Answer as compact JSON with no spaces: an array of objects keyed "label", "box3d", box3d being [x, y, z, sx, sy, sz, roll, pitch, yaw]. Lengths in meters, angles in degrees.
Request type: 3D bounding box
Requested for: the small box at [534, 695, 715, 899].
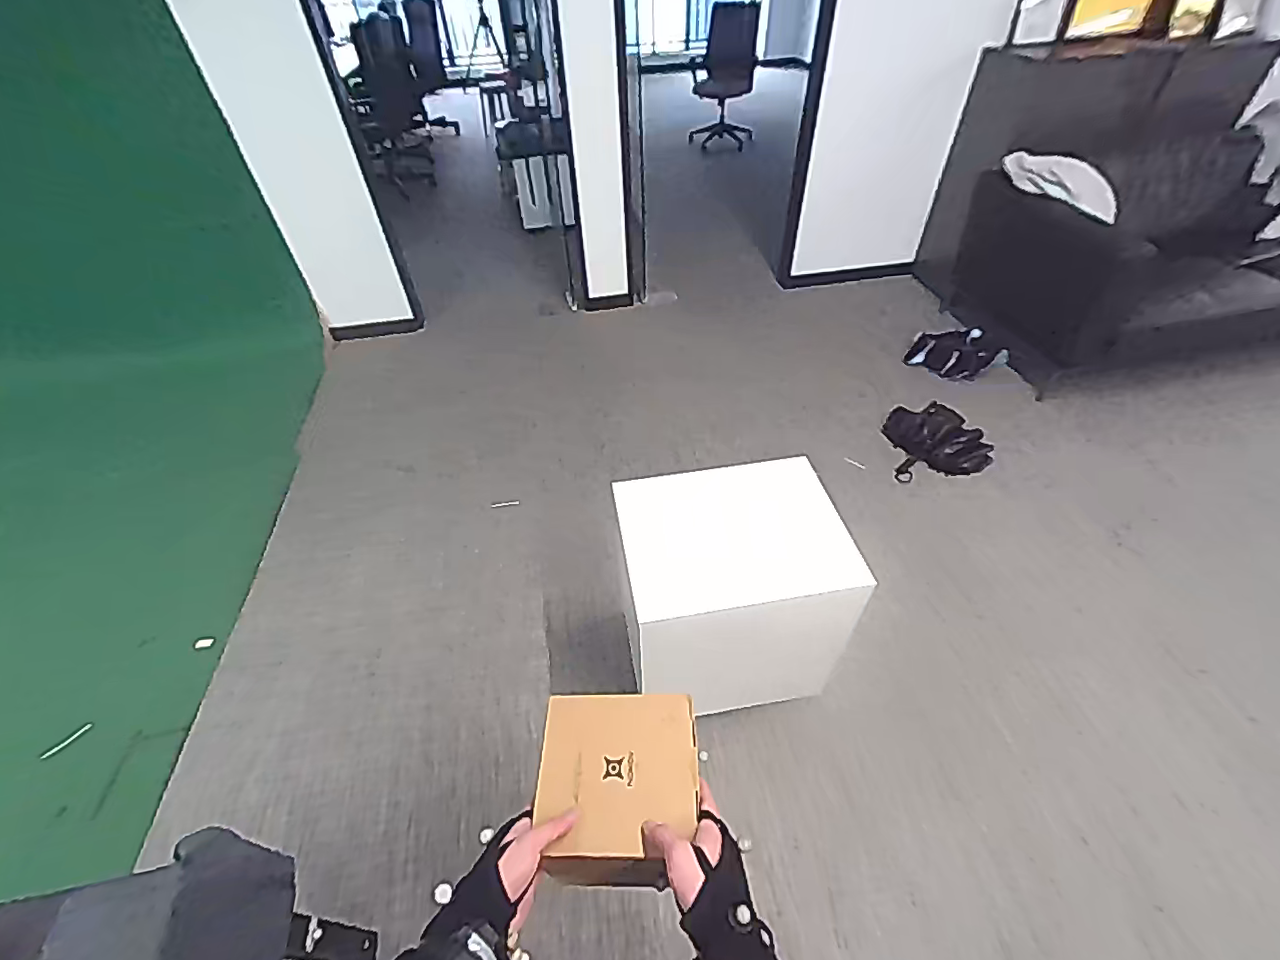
[{"label":"small box","box3d":[-0.013,0.367,0.627,0.179,0.176,0.168,-3,43,1]}]
